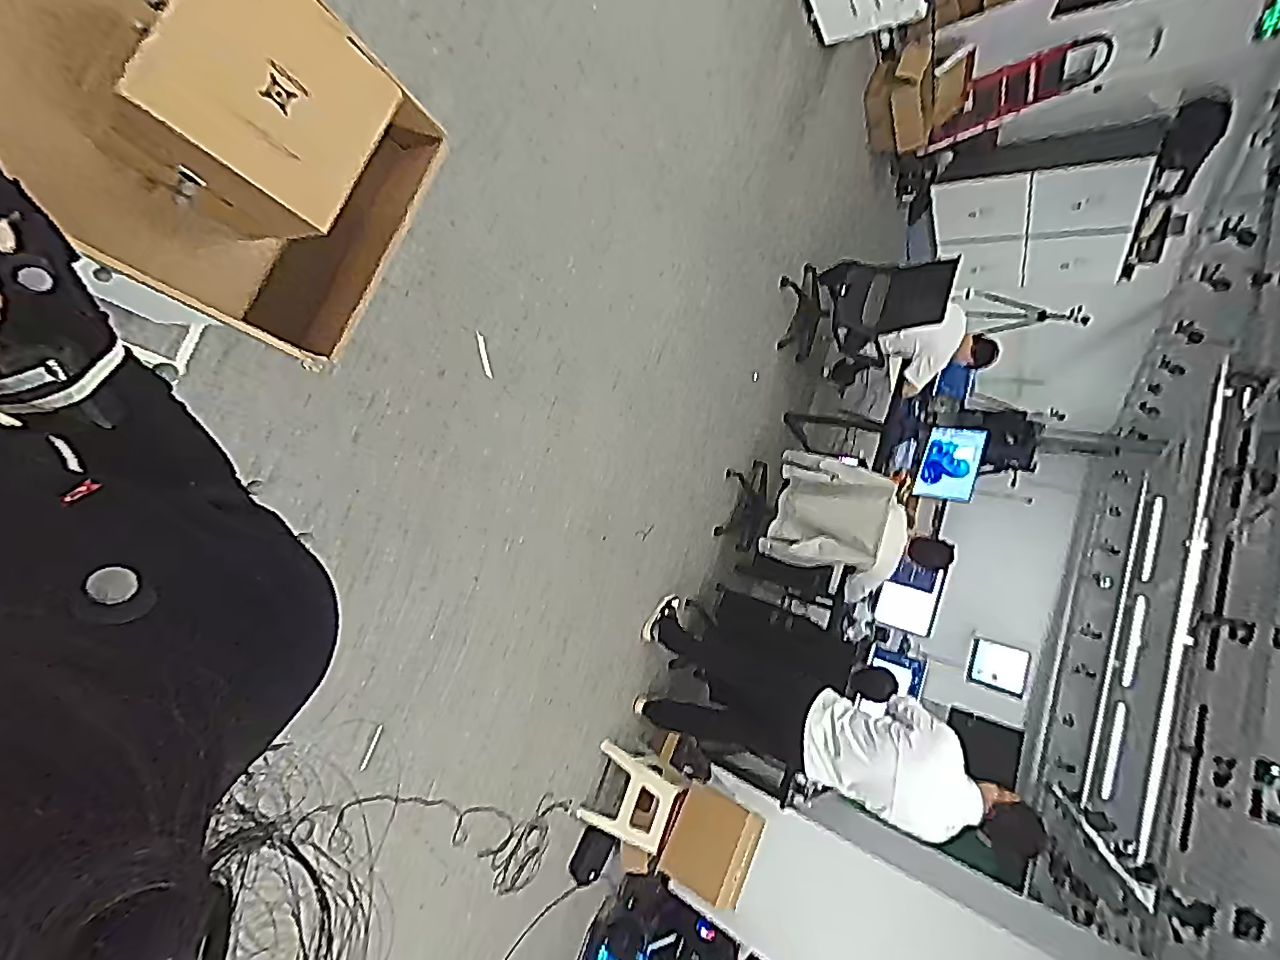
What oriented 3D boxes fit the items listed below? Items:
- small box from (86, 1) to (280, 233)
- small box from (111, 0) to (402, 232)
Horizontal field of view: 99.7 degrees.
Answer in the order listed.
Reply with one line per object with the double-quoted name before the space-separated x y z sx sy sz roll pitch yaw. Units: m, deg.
"small box" -0.499 -0.422 0.644 0.179 0.176 0.168 33 78 -51
"small box" -0.382 -0.375 0.540 0.168 0.176 0.179 32 81 -49
